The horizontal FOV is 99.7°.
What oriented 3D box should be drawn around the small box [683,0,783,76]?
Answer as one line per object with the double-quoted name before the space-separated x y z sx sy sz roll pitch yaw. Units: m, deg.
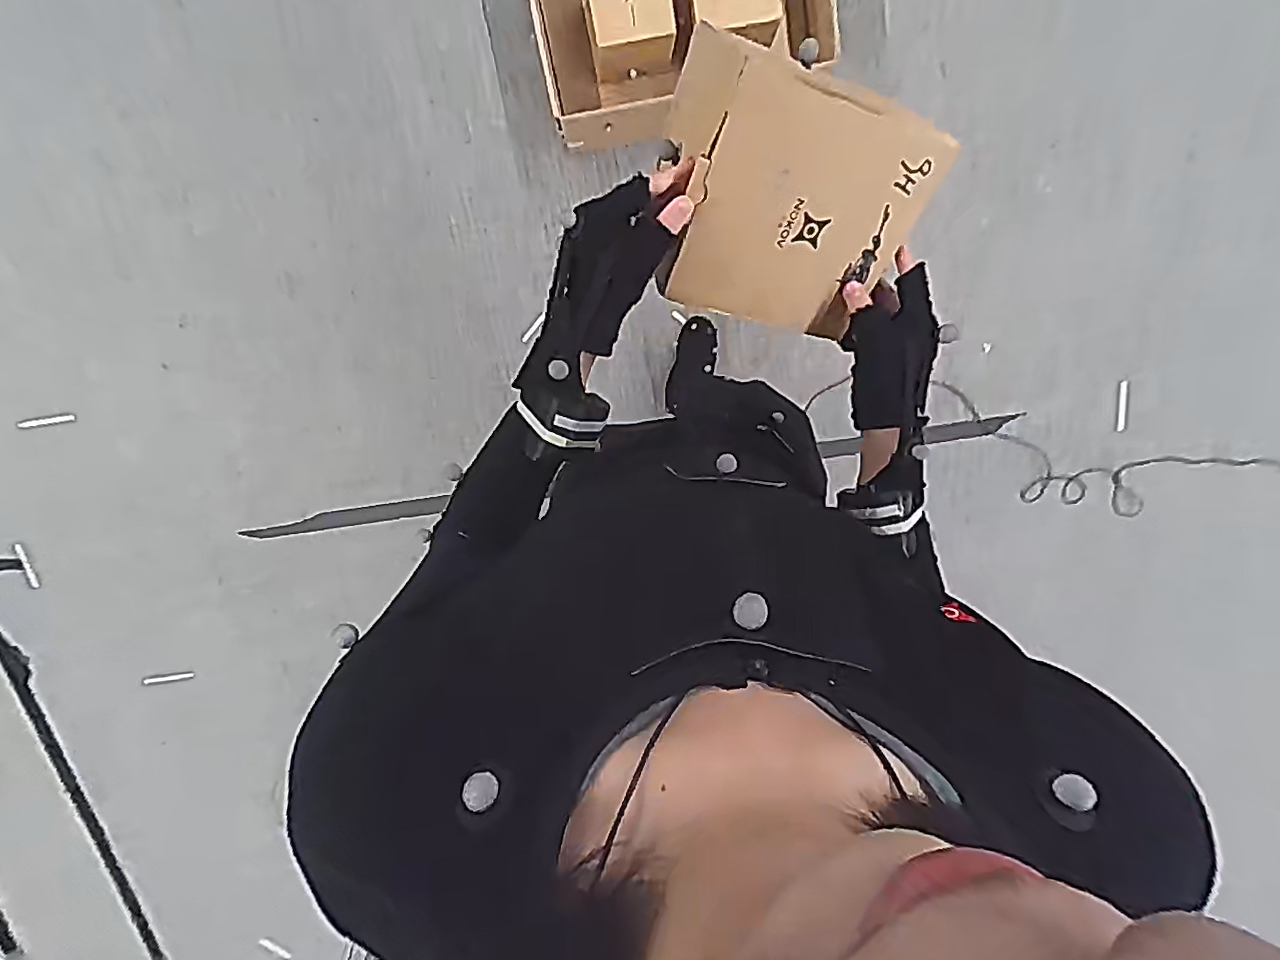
"small box" 0.194 -1.007 1.157 0.179 0.176 0.168 -9 103 3
